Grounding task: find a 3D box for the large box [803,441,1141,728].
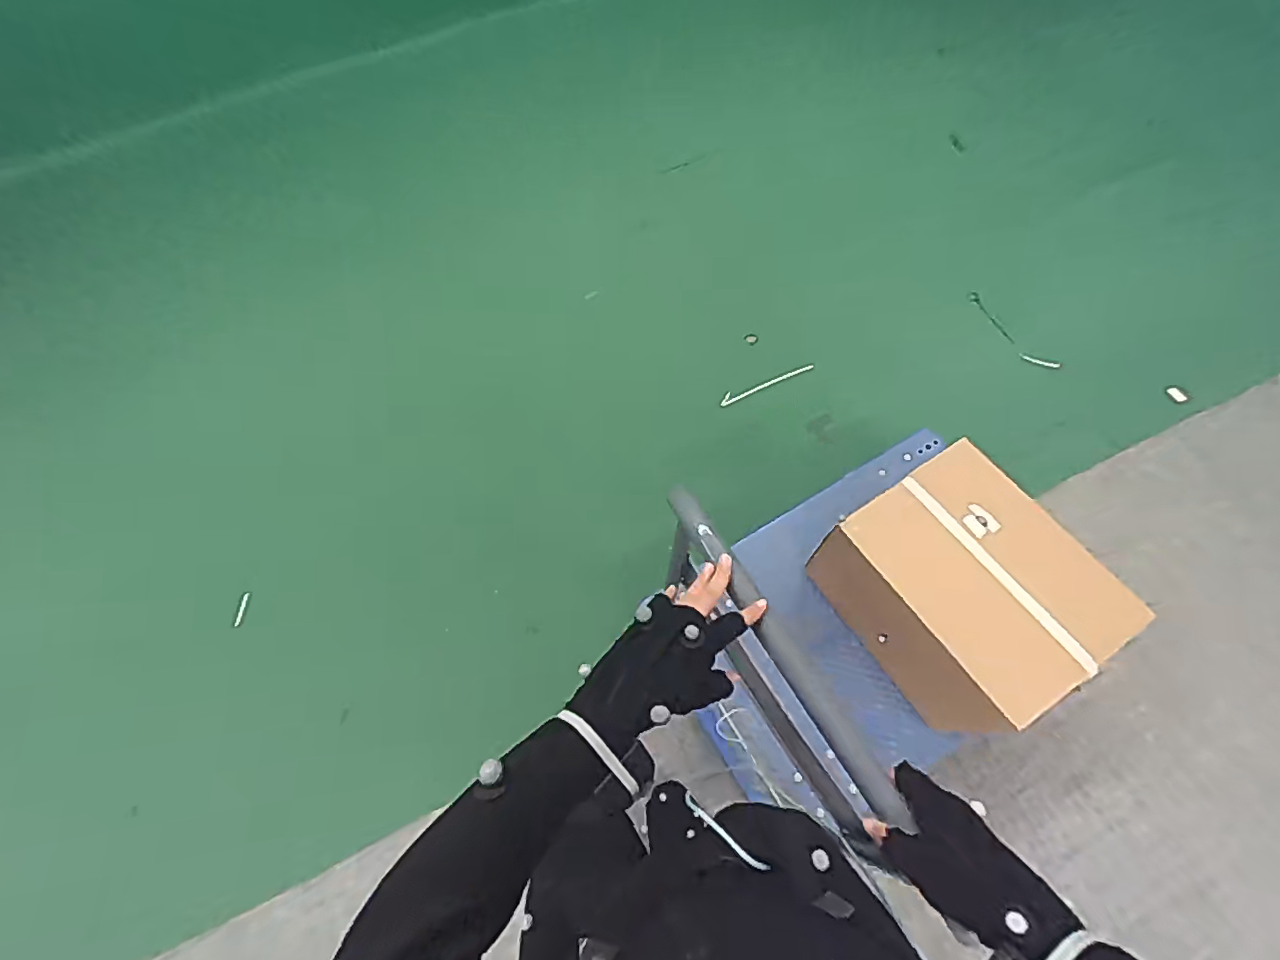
[{"bbox_3d":[0.586,0.212,1.051,0.320,0.320,0.408,-31,66,-10],"label":"large box"}]
